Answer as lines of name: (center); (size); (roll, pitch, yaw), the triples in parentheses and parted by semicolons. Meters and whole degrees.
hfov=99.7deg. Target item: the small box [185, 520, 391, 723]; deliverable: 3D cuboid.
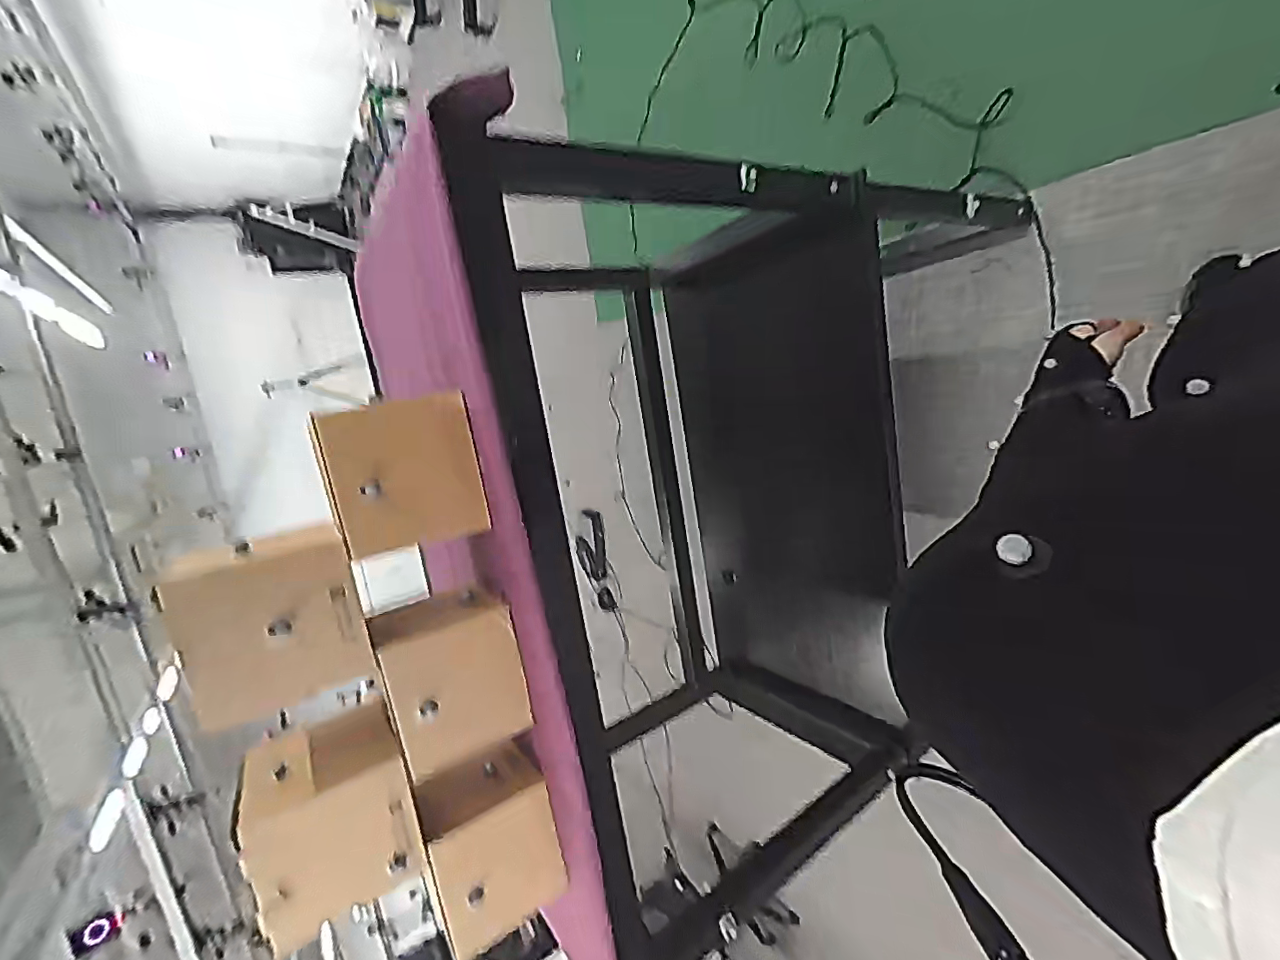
small box: (-0.413, 0.153, 0.658); (0.179, 0.176, 0.168); (4, 106, 57)

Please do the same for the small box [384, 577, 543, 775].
small box: (-0.248, 0.257, 0.755); (0.168, 0.176, 0.179); (5, 107, 57)

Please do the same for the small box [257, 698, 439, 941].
small box: (-0.371, 0.414, 0.700); (0.179, 0.176, 0.168); (8, 109, 57)

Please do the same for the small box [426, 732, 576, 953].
small box: (-0.210, 0.518, 0.804); (0.168, 0.176, 0.179); (1, 103, 57)

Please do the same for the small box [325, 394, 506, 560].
small box: (-0.296, -0.015, 0.715); (0.168, 0.176, 0.179); (5, 109, 57)
